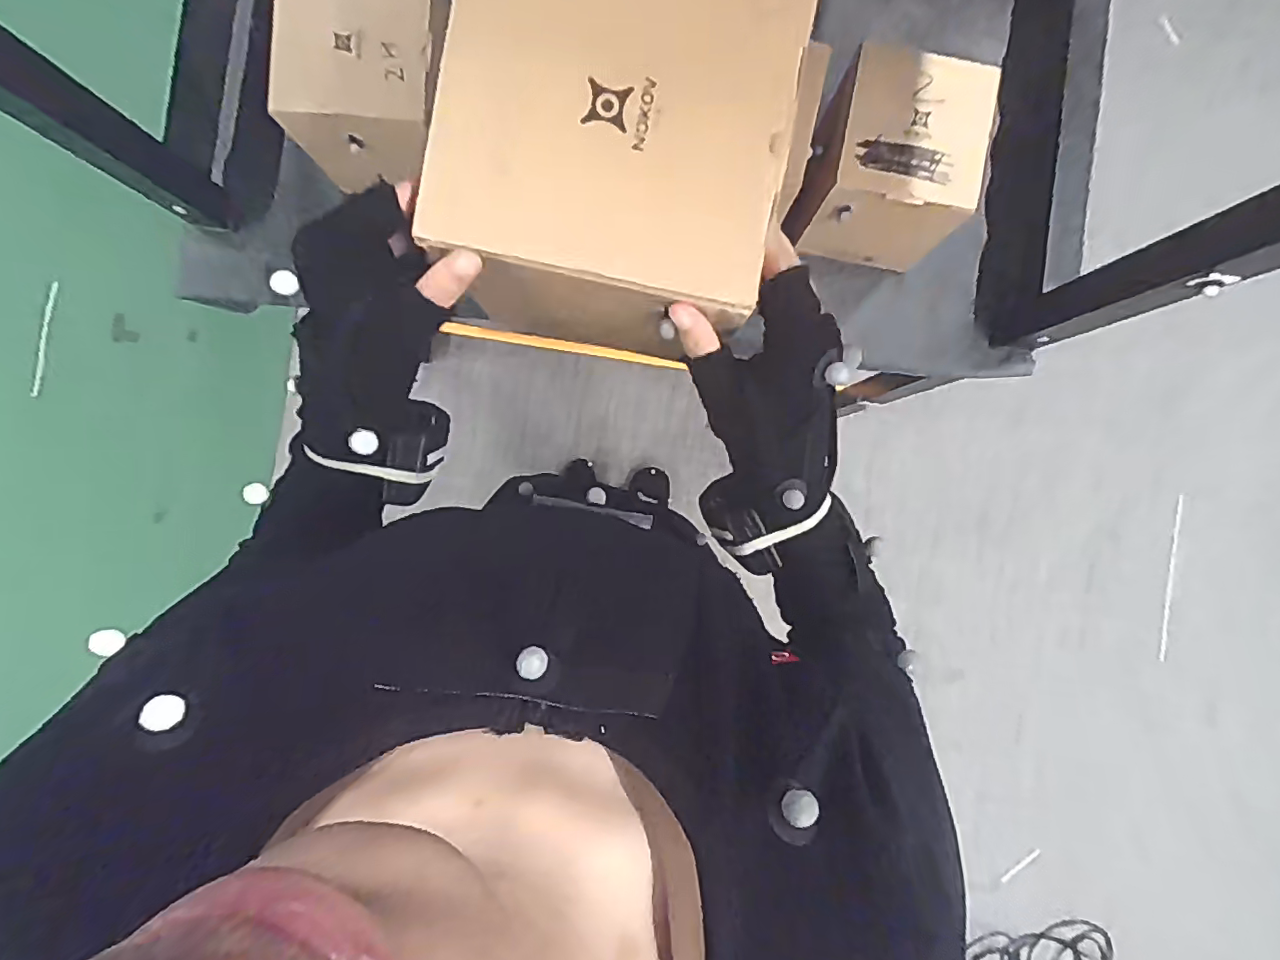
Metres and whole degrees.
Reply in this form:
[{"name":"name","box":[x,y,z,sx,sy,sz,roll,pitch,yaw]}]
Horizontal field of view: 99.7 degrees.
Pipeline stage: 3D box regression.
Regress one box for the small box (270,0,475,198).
[{"name":"small box","box":[-0.324,-0.483,0.685,0.179,0.176,0.168,3,90,-2]}]
